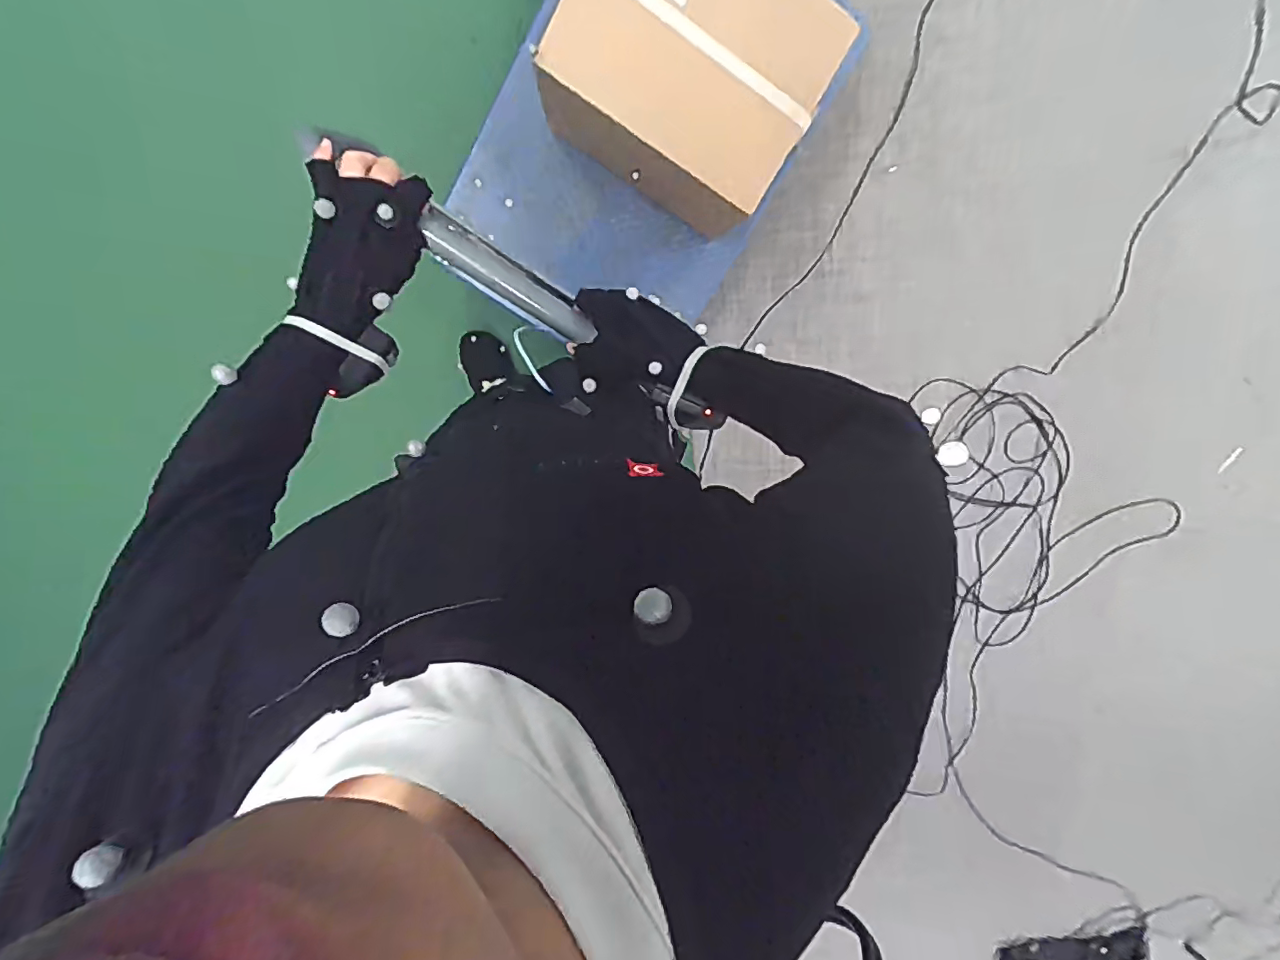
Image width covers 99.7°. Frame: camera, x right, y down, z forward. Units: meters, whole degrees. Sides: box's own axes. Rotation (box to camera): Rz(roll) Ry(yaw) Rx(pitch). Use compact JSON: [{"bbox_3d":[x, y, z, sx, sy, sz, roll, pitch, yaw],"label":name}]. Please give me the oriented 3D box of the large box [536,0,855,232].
[{"bbox_3d":[0.078,-0.705,0.964,0.408,0.320,0.320,29,102,-12],"label":"large box"}]
